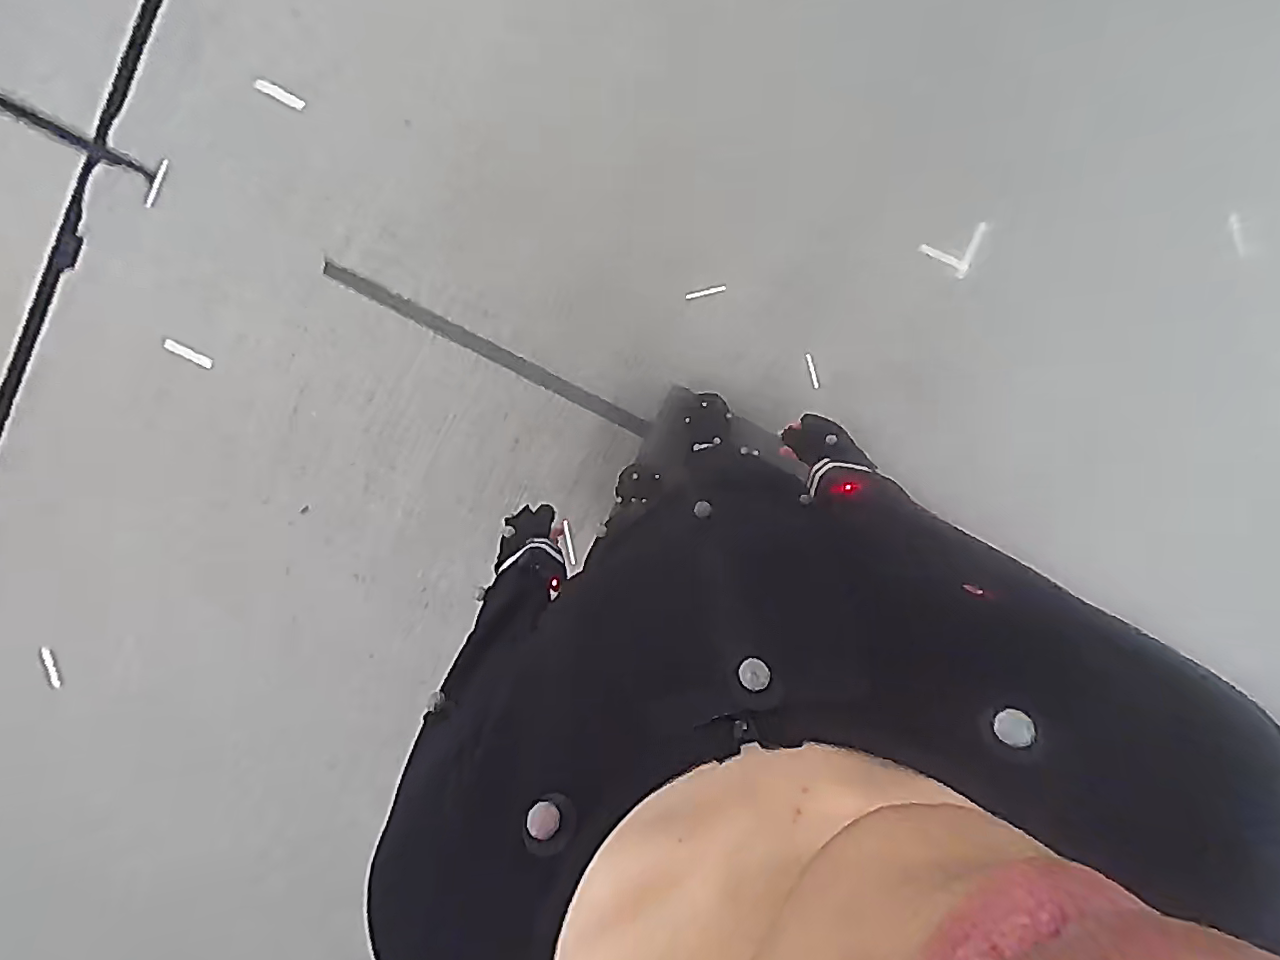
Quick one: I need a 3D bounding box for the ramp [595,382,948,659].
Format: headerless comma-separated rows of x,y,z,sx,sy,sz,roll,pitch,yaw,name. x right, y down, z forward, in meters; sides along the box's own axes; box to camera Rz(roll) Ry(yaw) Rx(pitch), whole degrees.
0.415,0.146,1.577,0.991,0.206,0.509,24,93,-2,ramp
